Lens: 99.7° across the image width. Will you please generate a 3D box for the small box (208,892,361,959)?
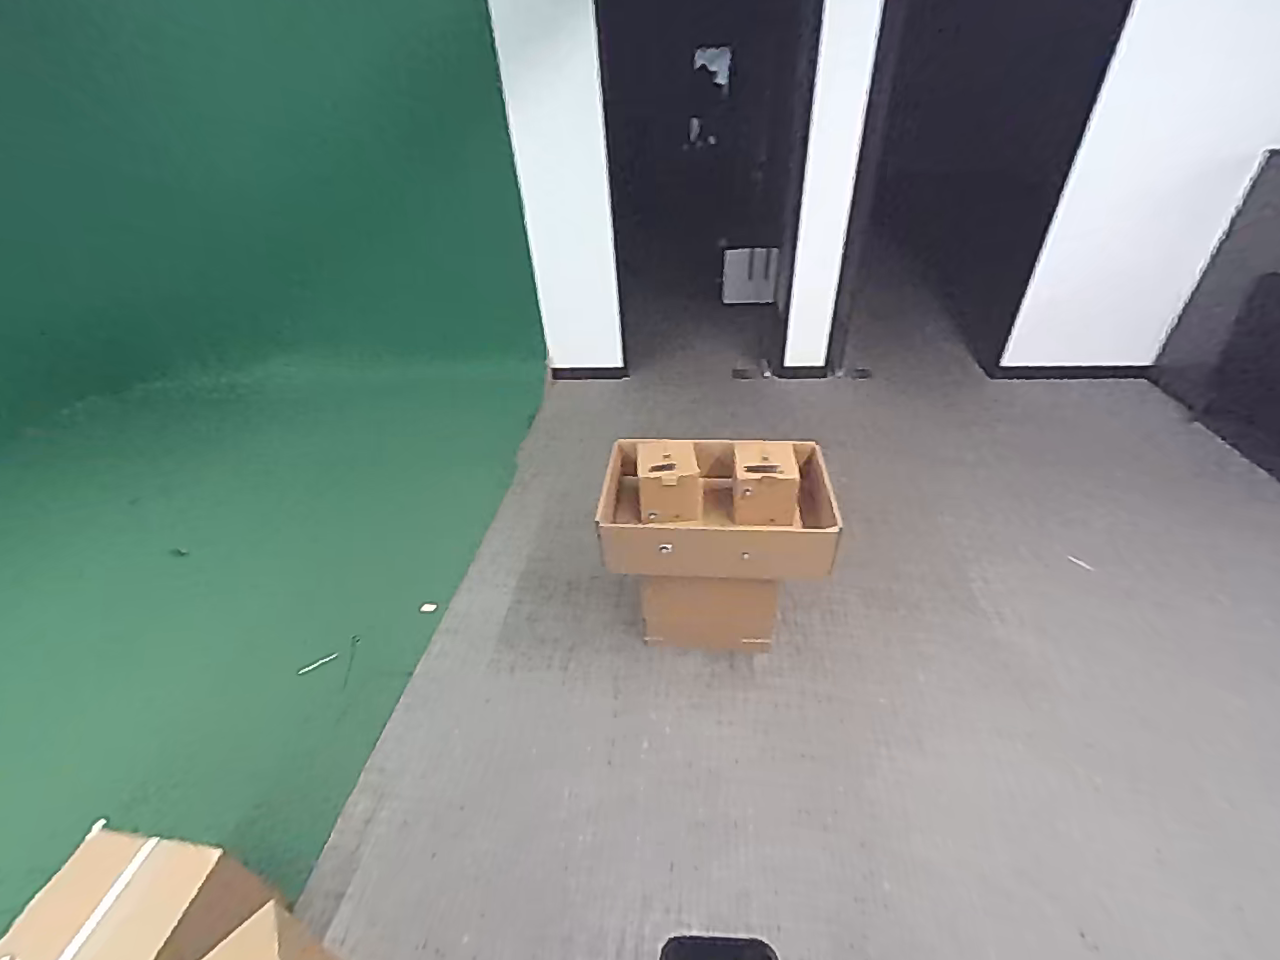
[{"bbox_3d":[-0.307,0.506,0.437,0.168,0.176,0.179,-35,24,-27],"label":"small box"}]
